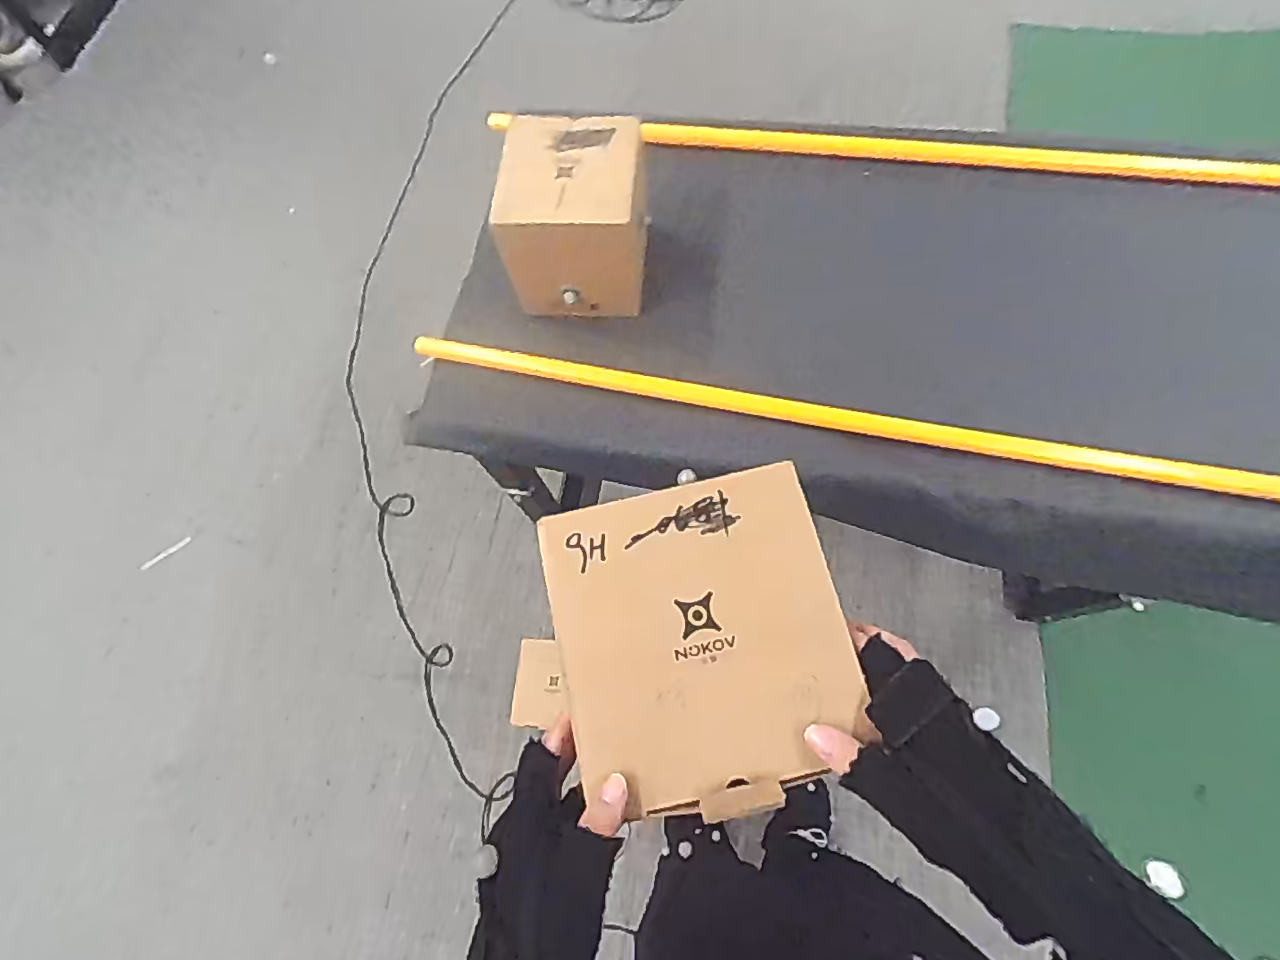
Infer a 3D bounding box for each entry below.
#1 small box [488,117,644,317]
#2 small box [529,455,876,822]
[{"bbox_3d":[-0.084,-0.343,0.719,0.168,0.176,0.179,2,70,5],"label":"small box"},{"bbox_3d":[0.036,0.104,0.391,0.168,0.176,0.179,-16,75,0],"label":"small box"}]
